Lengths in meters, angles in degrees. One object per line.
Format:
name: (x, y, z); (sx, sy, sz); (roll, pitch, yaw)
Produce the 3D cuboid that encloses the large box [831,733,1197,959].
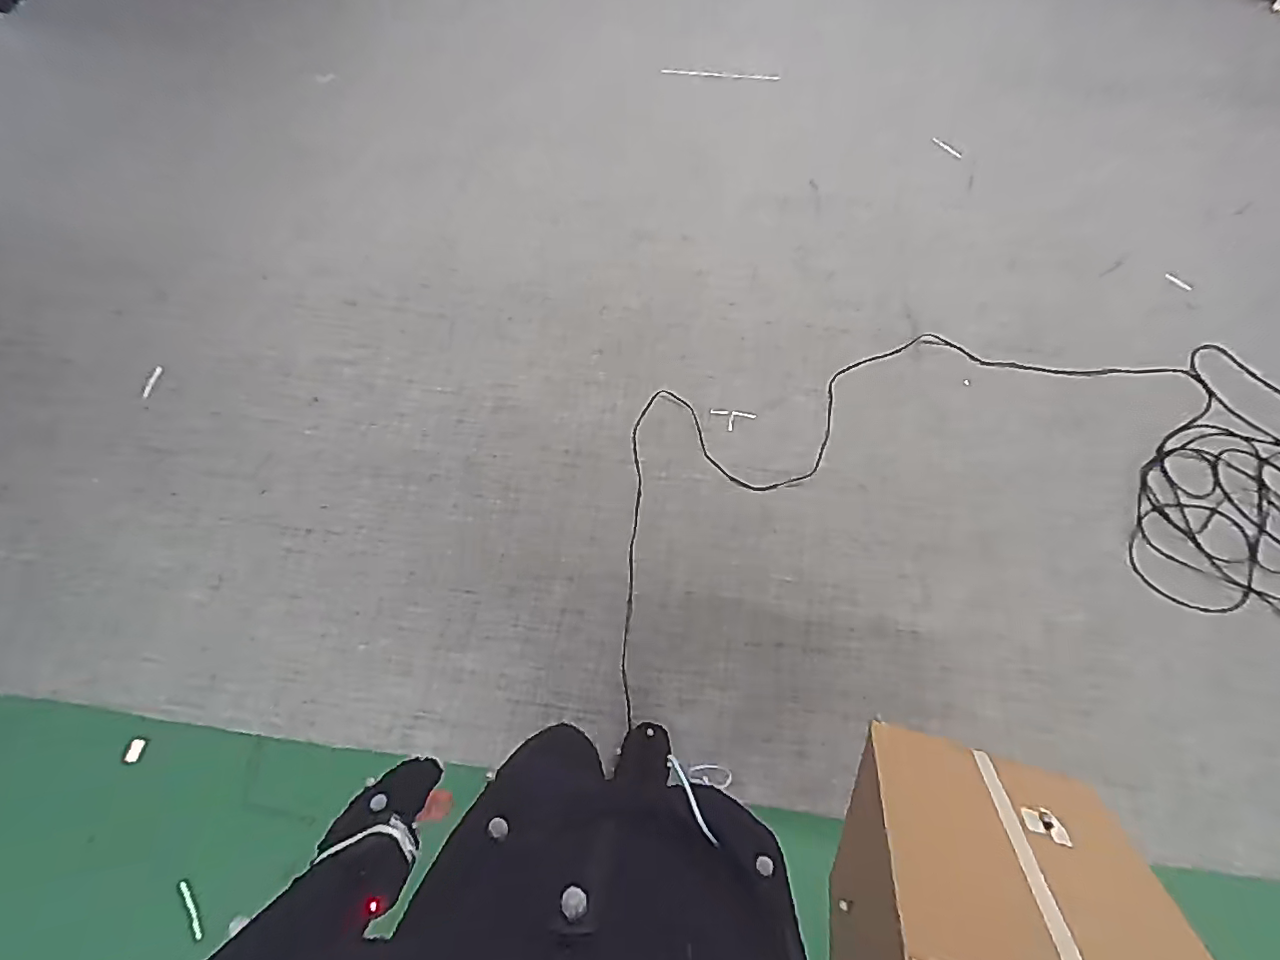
large box: (0.431, 0.611, 0.677); (0.320, 0.408, 0.320); (13, 101, 16)
